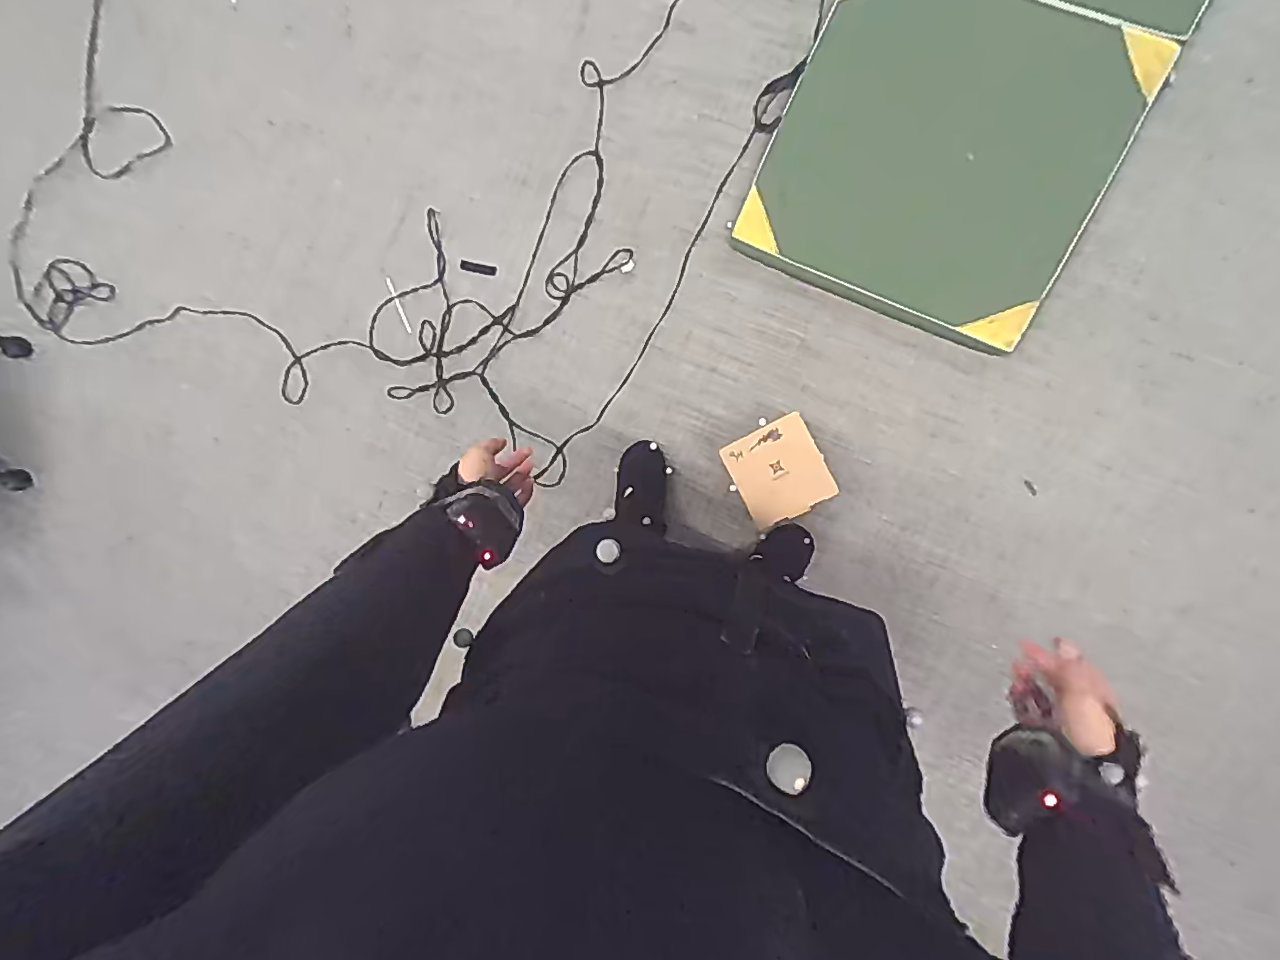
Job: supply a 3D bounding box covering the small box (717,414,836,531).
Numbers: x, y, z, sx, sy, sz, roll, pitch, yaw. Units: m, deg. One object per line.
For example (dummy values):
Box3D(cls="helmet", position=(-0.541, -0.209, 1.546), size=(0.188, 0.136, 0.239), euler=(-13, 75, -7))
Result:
Box3D(cls="small box", position=(0.269, -0.020, 1.092), size=(0.168, 0.176, 0.179), euler=(-27, 90, 9))
